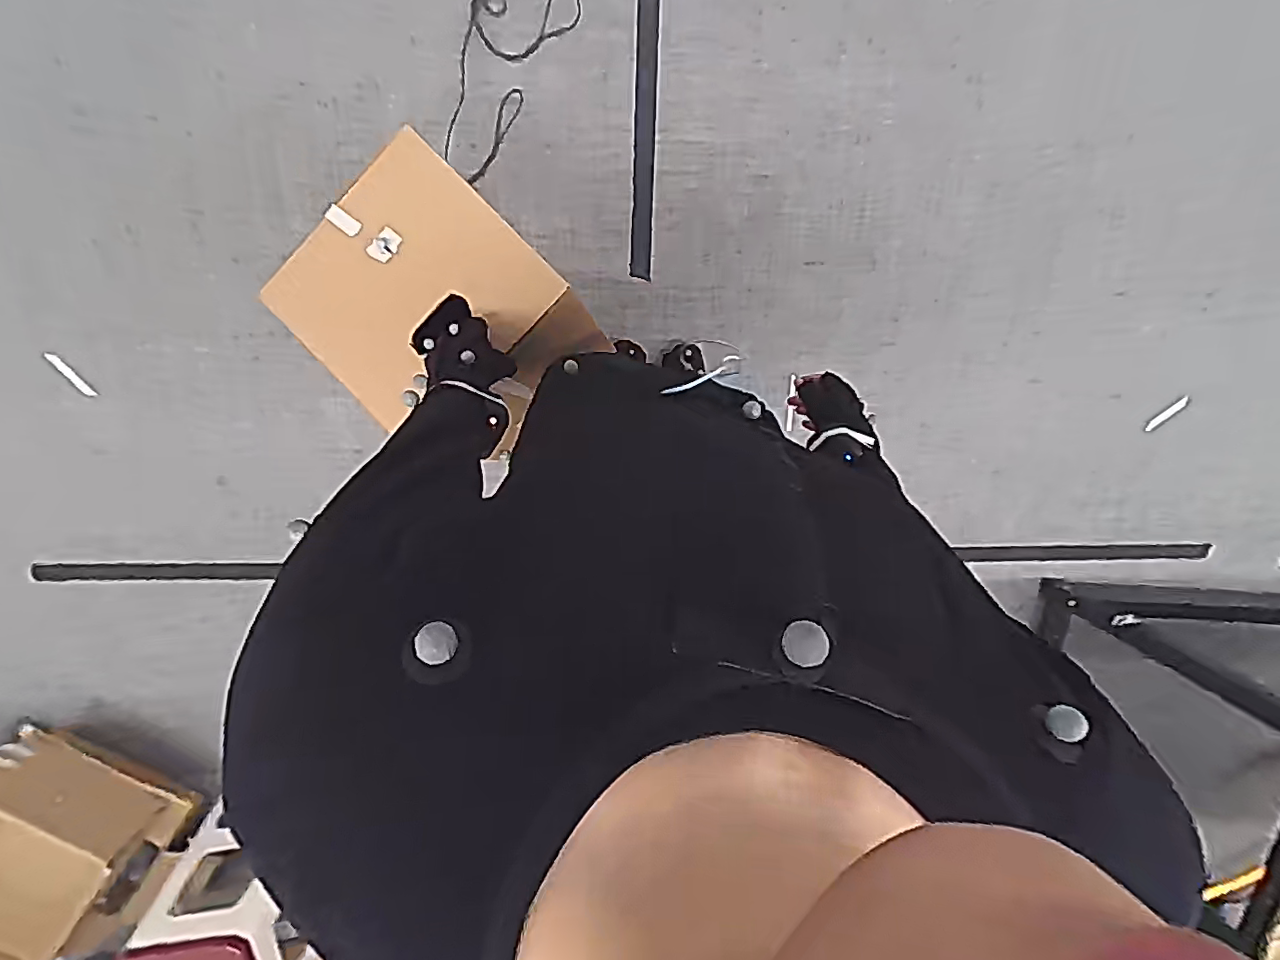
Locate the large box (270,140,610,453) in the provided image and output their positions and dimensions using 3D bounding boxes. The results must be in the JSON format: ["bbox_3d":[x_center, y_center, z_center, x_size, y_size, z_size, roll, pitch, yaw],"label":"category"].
[{"bbox_3d":[-0.293,-0.262,0.922,0.320,0.408,0.320,-45,88,6],"label":"large box"}]
